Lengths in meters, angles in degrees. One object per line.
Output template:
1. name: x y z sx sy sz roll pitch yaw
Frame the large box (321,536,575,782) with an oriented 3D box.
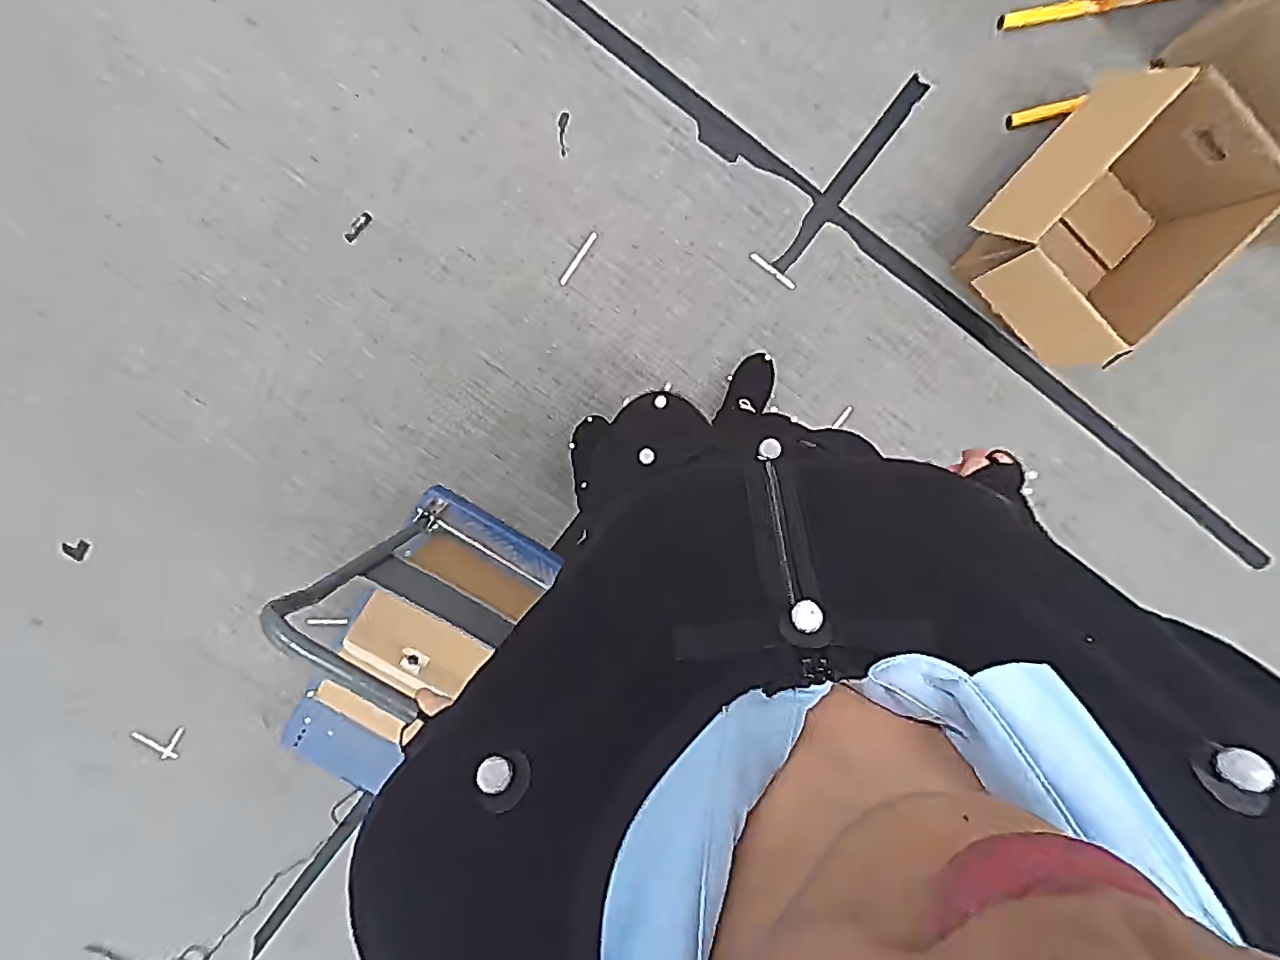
1. large box: -0.416 0.395 1.262 0.408 0.320 0.320 33 100 -5
